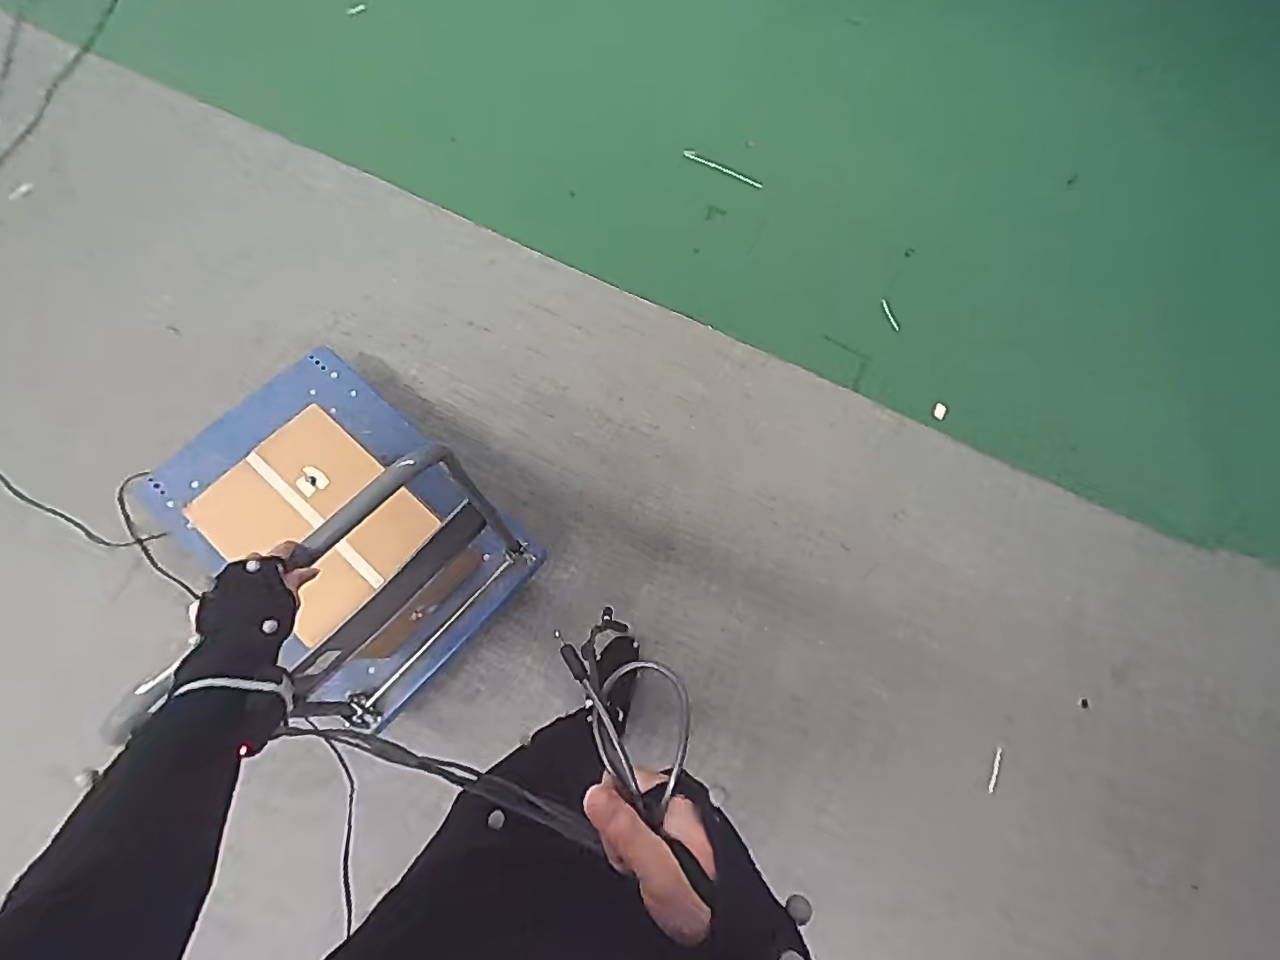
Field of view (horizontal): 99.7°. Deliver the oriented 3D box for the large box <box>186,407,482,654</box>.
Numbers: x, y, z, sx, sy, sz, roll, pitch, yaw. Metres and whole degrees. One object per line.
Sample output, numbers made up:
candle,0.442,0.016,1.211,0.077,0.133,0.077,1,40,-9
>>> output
large box,-0.620,0.125,1.171,0.408,0.320,0.320,40,73,11
